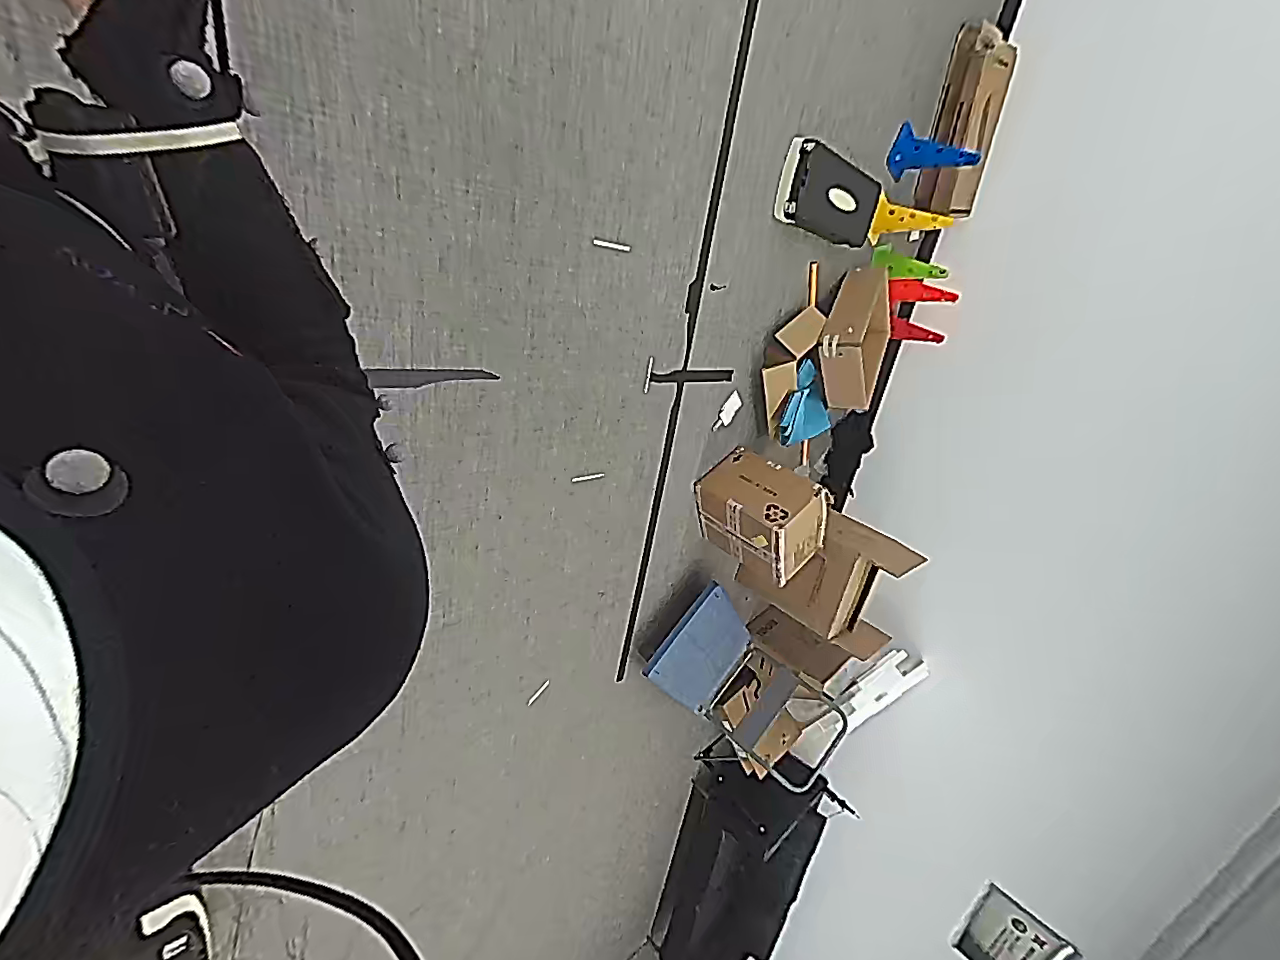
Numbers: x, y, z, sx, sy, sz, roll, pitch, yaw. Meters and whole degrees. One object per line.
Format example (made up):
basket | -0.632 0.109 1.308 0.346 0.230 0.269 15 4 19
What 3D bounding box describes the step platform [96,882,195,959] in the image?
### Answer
step platform | -1.485 1.308 1.263 0.684 0.204 0.286 -13 123 -44
